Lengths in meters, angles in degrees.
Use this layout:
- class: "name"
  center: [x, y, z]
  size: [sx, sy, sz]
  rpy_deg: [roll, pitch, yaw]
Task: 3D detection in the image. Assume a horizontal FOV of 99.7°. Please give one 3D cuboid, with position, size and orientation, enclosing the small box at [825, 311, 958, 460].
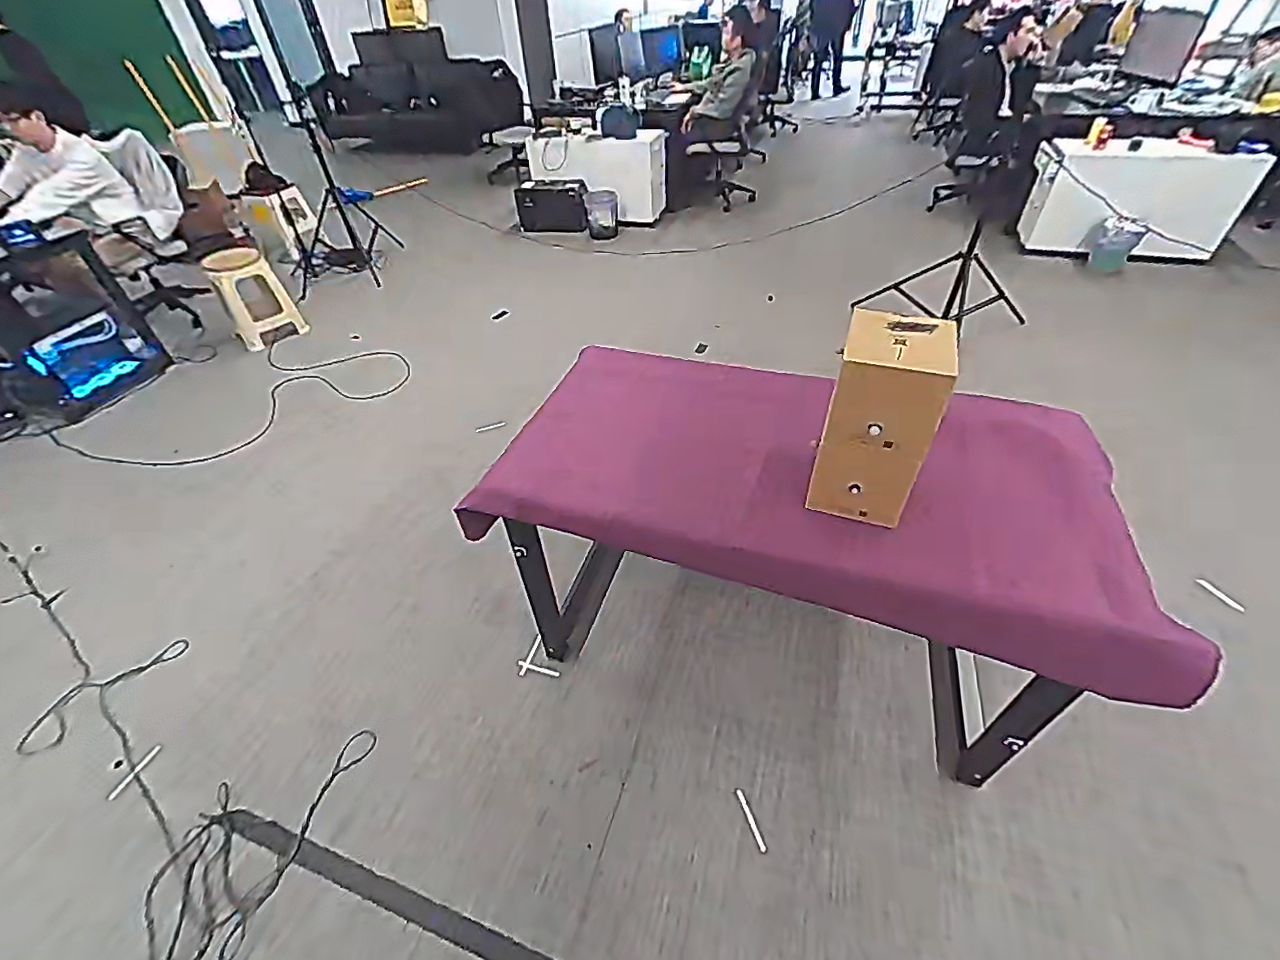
- class: "small box"
  center: [0.422, -0.163, 0.922]
  size: [0.168, 0.176, 0.179]
  rpy_deg: [13, 46, 17]

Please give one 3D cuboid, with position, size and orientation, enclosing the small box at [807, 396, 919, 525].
- class: "small box"
  center: [0.425, -0.041, 1.032]
  size: [0.168, 0.176, 0.179]
  rpy_deg: [14, 45, 17]
